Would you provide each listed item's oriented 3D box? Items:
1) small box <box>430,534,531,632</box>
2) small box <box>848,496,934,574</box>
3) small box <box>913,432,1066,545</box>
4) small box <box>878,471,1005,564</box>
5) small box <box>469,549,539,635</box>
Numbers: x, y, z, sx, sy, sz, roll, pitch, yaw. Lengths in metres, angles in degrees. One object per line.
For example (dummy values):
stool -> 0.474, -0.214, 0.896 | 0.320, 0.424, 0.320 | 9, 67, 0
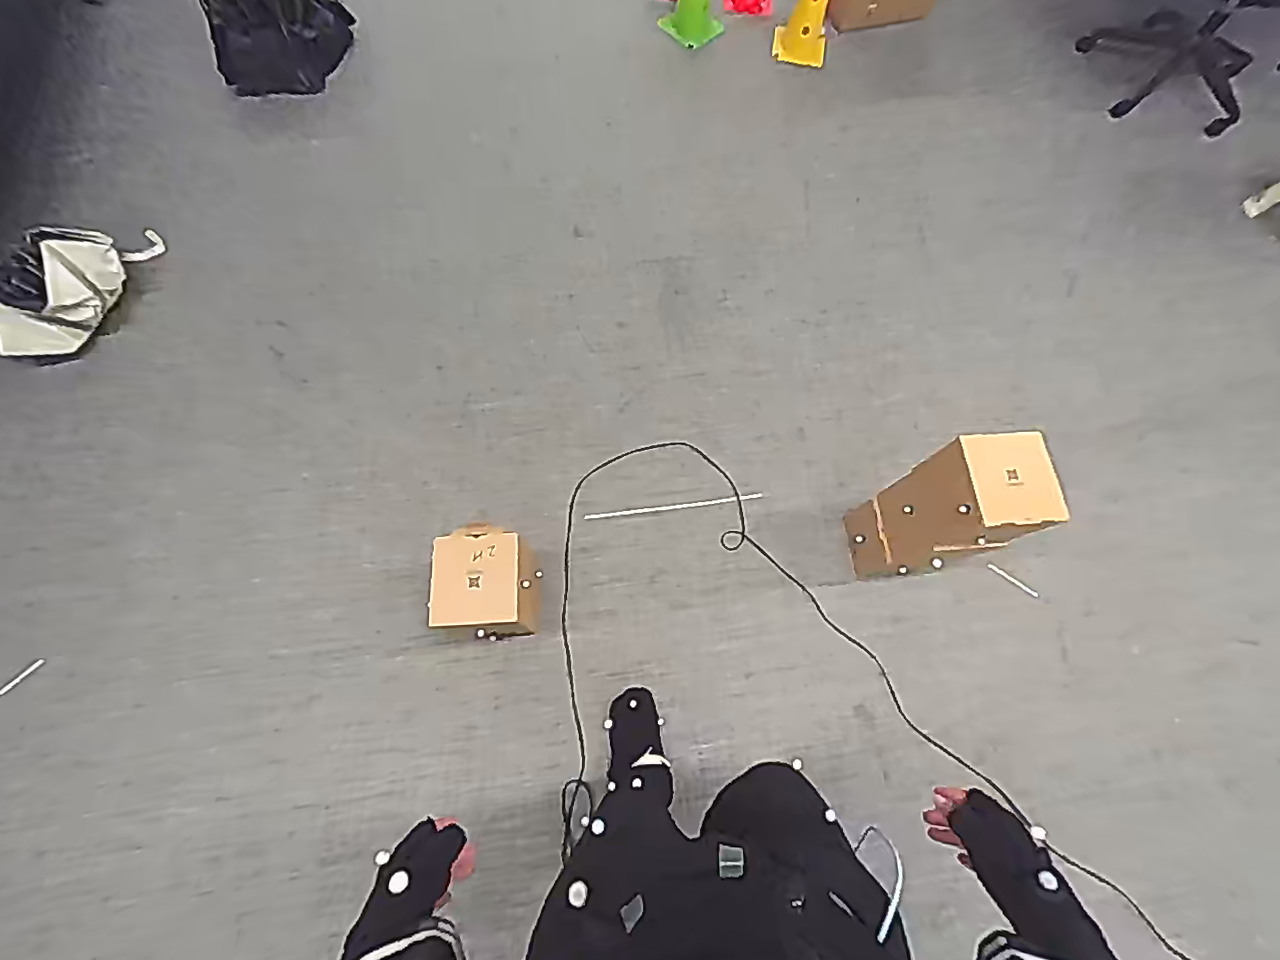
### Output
small box -> -0.319, 0.219, 1.115 | 0.168, 0.176, 0.179 | -3, 70, -3
small box -> 0.644, 0.138, 1.364 | 0.179, 0.176, 0.168 | -4, 71, -5
small box -> 0.669, 0.021, 1.059 | 0.168, 0.176, 0.179 | -4, 71, -5
small box -> 0.660, 0.084, 1.209 | 0.168, 0.176, 0.179 | -3, 72, -5
small box -> -0.329, 0.263, 1.256 | 0.168, 0.176, 0.179 | -1, 71, -3
